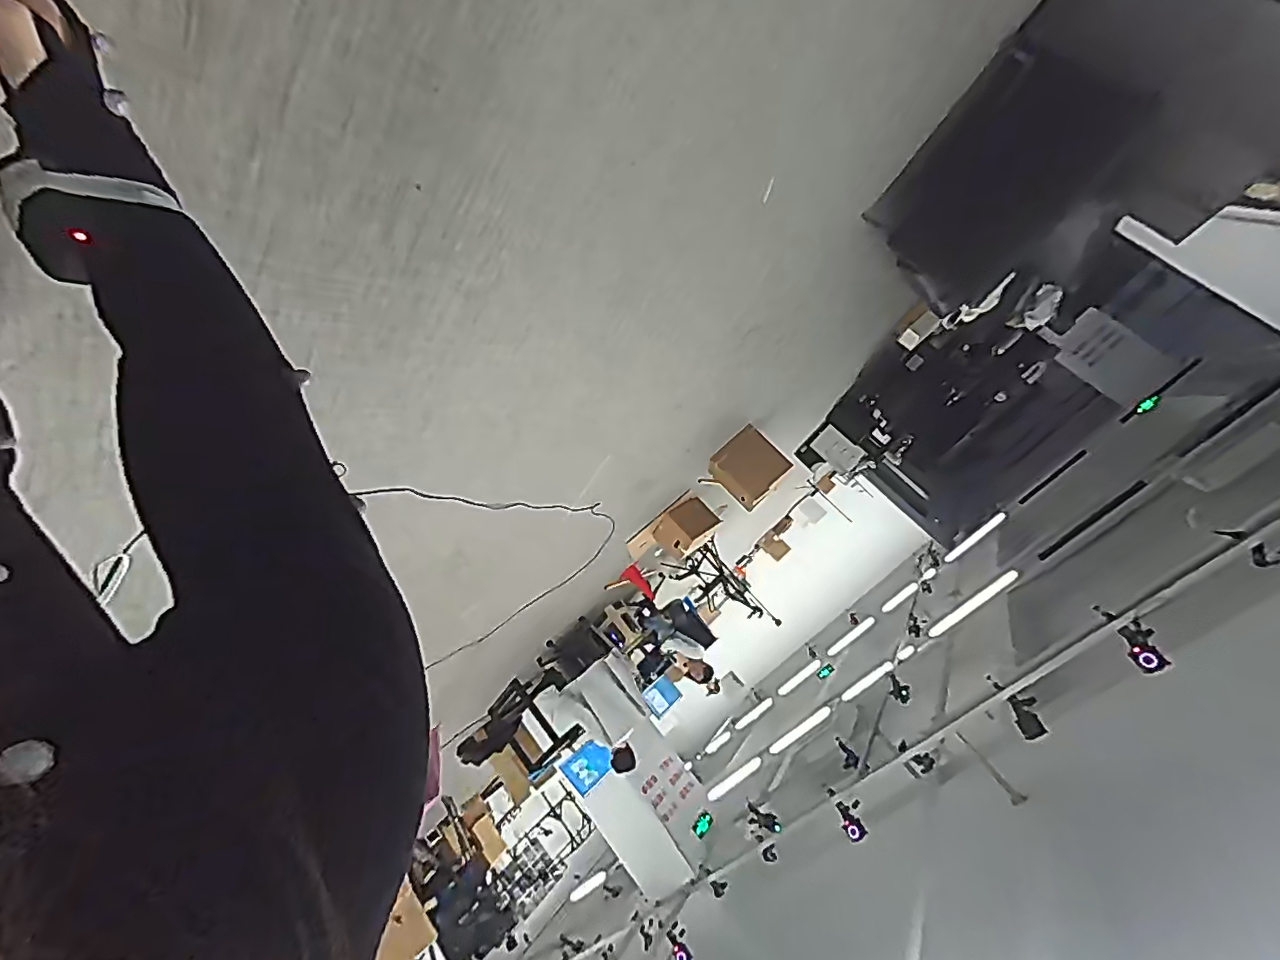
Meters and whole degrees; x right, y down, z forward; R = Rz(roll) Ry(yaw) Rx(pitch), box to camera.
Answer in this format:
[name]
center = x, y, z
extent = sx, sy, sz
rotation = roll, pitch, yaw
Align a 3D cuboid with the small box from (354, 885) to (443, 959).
[small box]
center = -0.741, 1.392, 1.650
extent = 0.168, 0.176, 0.179
rotation = -13, 145, -56
